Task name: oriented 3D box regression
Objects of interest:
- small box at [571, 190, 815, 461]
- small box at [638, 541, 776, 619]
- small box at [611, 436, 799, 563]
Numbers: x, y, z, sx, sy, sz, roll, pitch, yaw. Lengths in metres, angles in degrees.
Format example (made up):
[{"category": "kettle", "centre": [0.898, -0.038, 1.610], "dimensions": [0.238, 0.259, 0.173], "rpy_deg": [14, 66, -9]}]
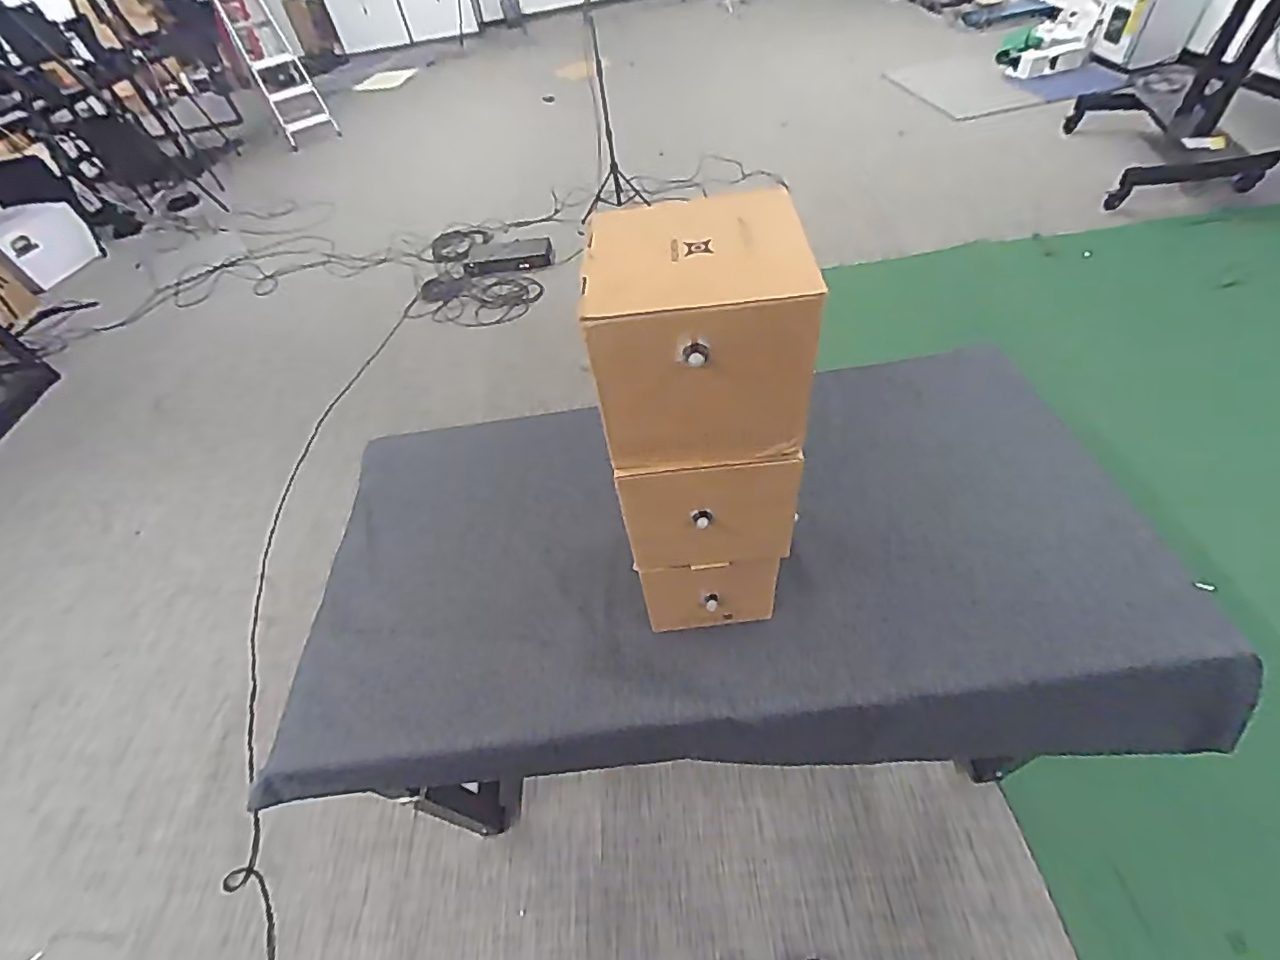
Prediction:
[{"category": "small box", "centre": [0.047, -0.132, 0.490], "dimensions": [0.179, 0.176, 0.168], "rpy_deg": [-5, 51, 5]}, {"category": "small box", "centre": [0.085, 0.076, 0.738], "dimensions": [0.168, 0.176, 0.179], "rpy_deg": [-9, 50, 3]}, {"category": "small box", "centre": [0.068, -0.023, 0.608], "dimensions": [0.179, 0.176, 0.168], "rpy_deg": [-7, 49, 6]}]
